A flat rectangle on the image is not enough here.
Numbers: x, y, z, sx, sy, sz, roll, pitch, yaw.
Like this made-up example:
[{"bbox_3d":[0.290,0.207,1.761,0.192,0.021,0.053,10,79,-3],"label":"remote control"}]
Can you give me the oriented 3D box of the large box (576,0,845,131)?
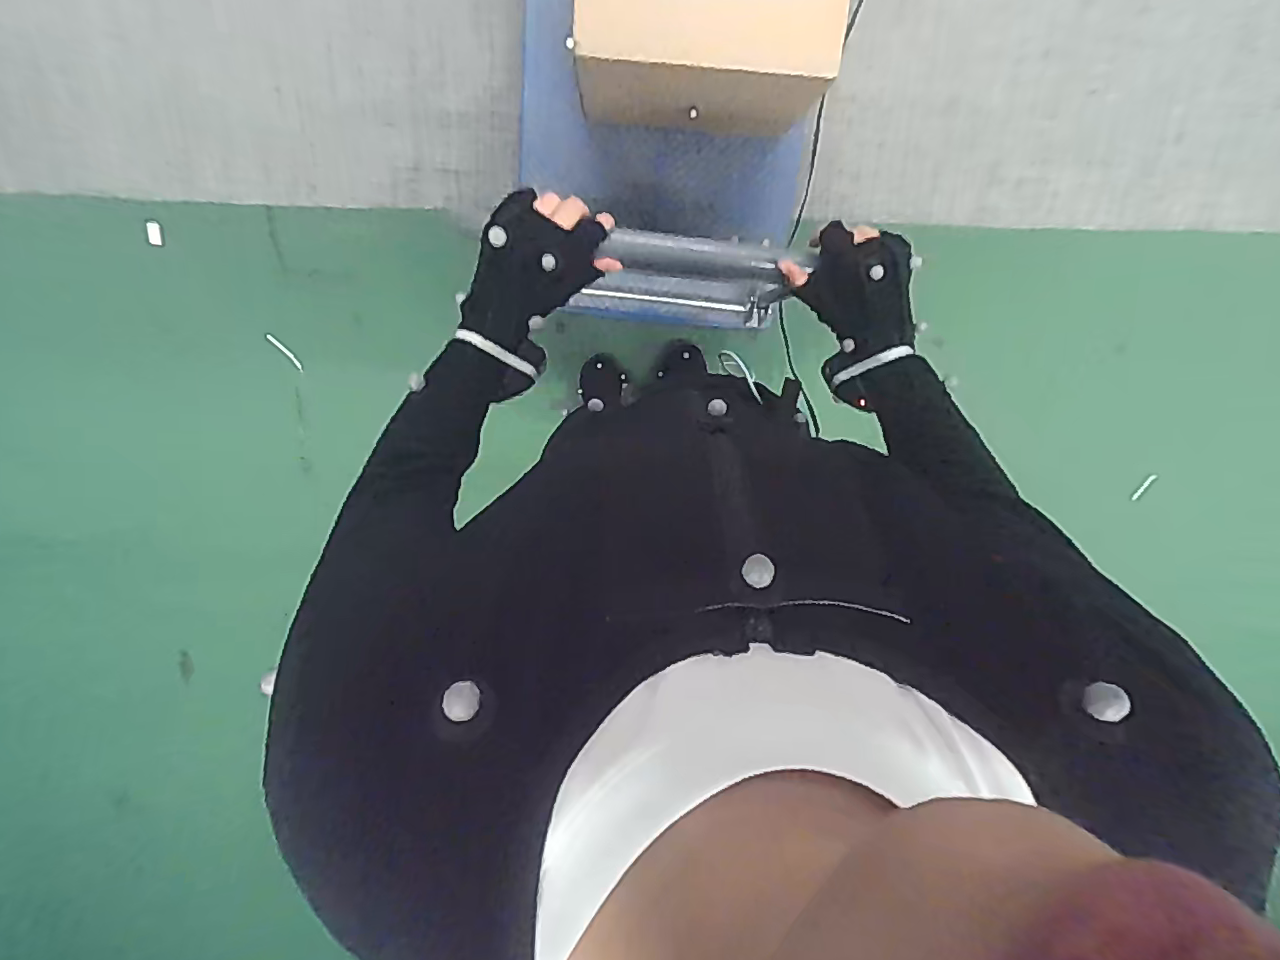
[{"bbox_3d":[0.107,-0.818,0.915,0.408,0.320,0.320,3,107,-3],"label":"large box"}]
